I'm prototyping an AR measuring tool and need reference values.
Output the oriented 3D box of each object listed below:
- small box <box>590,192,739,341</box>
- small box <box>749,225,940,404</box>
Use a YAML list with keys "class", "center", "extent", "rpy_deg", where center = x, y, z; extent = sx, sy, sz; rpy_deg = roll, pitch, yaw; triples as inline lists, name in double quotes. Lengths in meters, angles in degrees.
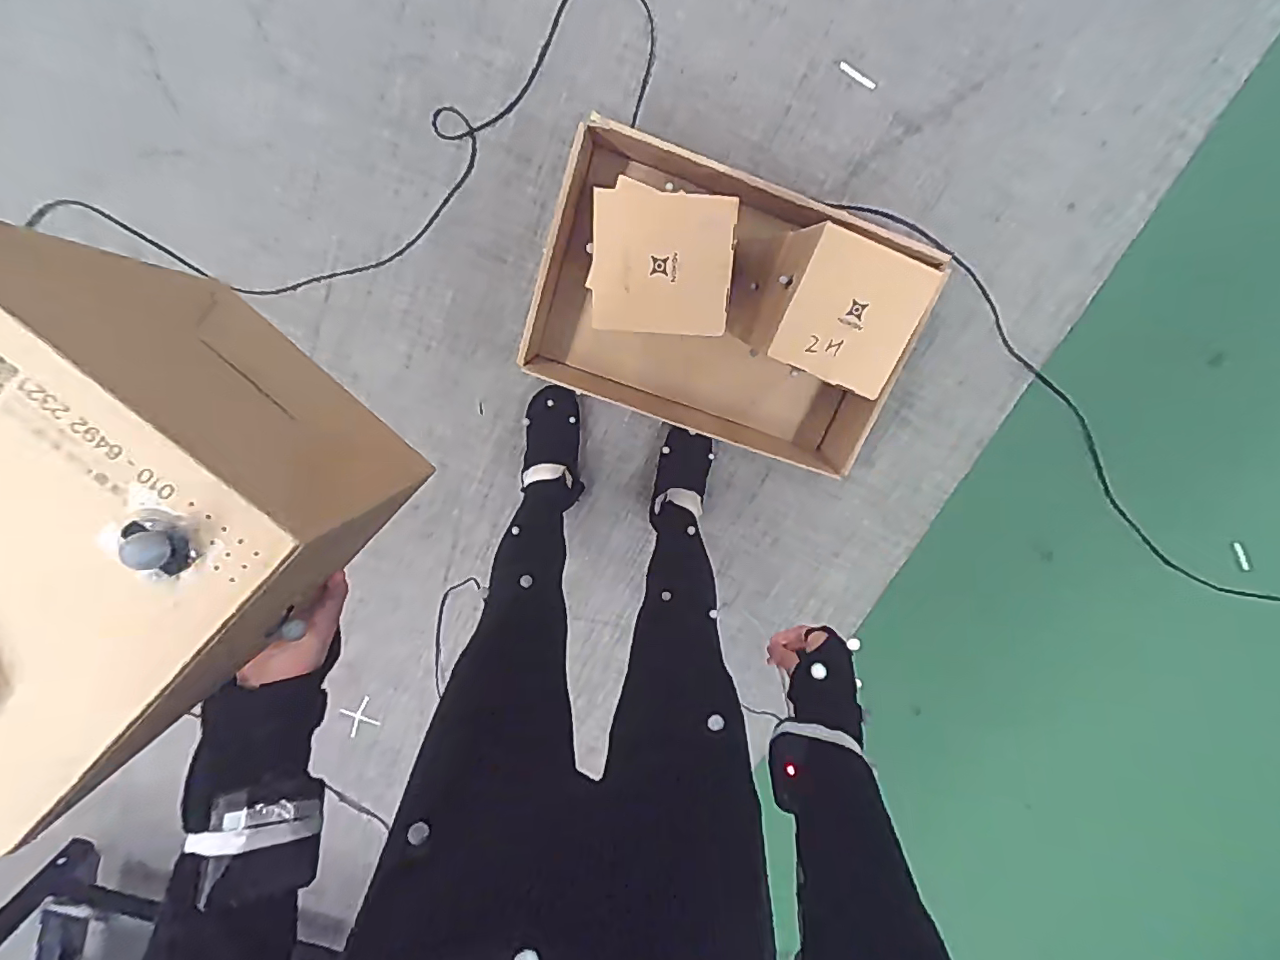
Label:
- class: "small box"
  center: [0.026, -0.292, 0.747]
  extent: [0.179, 0.176, 0.168]
  rpy_deg: [3, 111, -2]
- class: "small box"
  center: [0.269, -0.233, 0.764]
  extent: [0.168, 0.176, 0.179]
  rpy_deg: [21, 109, -7]
